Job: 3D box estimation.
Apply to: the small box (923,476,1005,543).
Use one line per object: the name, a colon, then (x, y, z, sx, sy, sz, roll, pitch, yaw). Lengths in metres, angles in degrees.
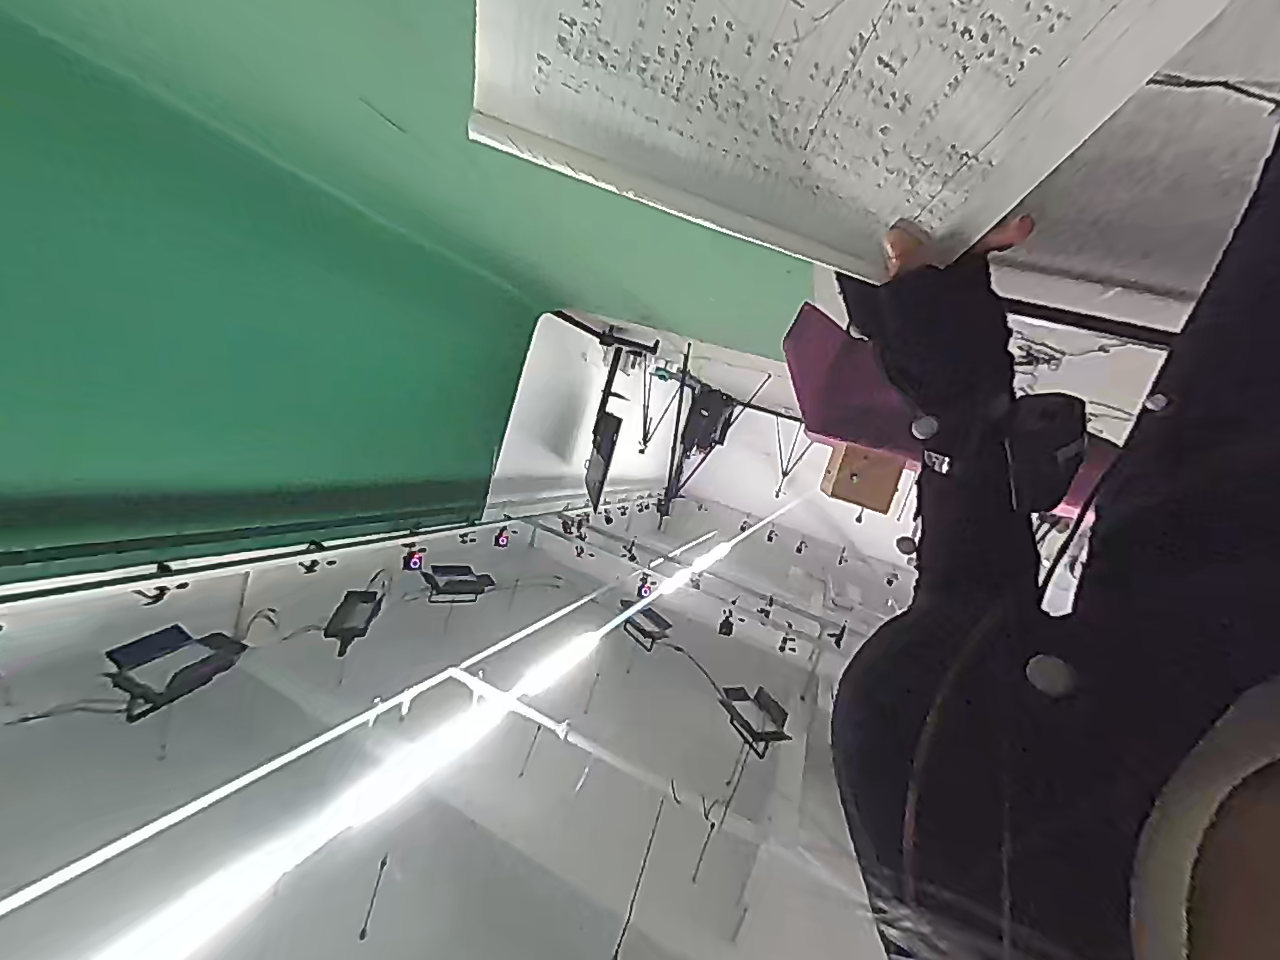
small box: (1.033, 0.087, 1.729, 0.168, 0.176, 0.179, 19, -172, 17)

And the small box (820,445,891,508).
small box: (0.717, -0.018, 1.803, 0.168, 0.176, 0.179, 19, -173, 10)
